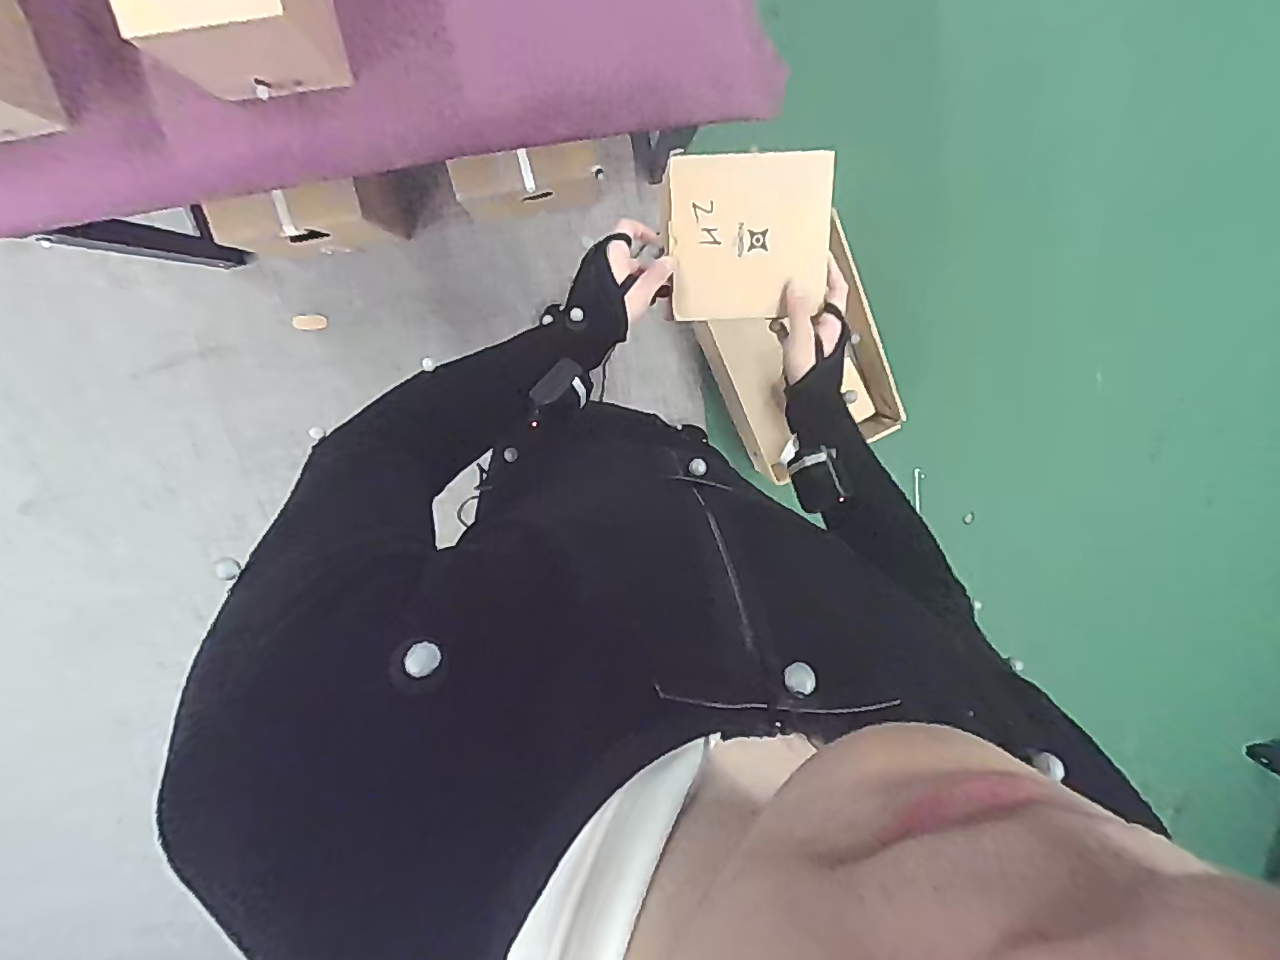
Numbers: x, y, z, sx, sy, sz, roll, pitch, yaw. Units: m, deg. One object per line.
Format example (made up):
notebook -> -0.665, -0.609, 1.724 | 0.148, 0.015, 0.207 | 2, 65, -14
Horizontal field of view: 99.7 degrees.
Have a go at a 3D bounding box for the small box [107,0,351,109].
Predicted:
small box -> -0.458, -0.554, 0.603 | 0.168, 0.176, 0.179 | -9, 105, -1

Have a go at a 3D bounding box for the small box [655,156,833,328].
small box -> 0.111, -0.273, 0.647 | 0.179, 0.176, 0.168 | -3, 107, 0

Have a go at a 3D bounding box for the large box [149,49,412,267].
large box -> -0.766, -0.733, 1.217 | 0.320, 0.320, 0.408 | -11, 105, -2

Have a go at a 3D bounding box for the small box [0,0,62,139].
small box -> -0.815, -0.489, 0.590 | 0.168, 0.176, 0.179 | -11, 104, -2
